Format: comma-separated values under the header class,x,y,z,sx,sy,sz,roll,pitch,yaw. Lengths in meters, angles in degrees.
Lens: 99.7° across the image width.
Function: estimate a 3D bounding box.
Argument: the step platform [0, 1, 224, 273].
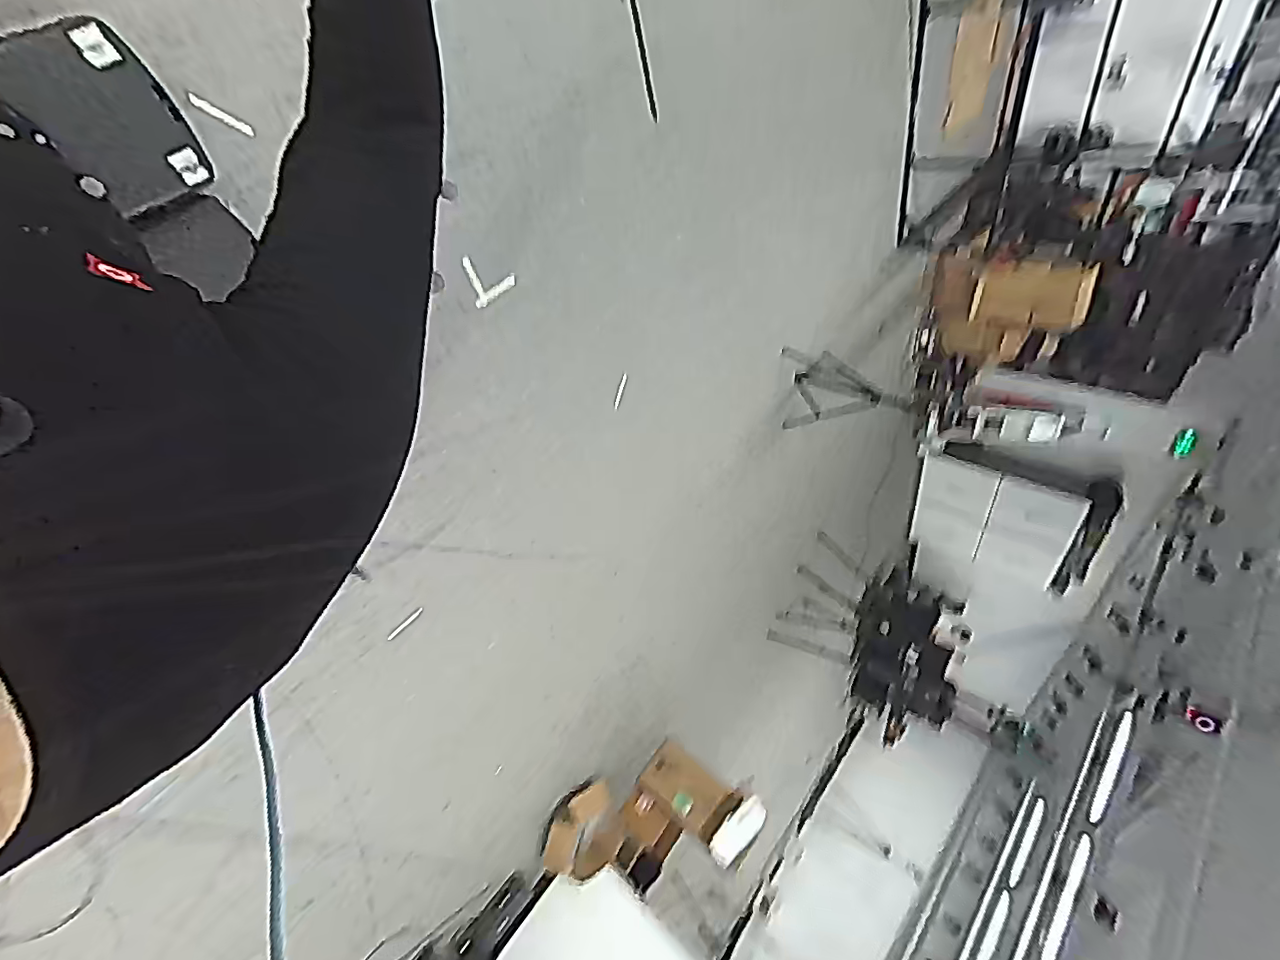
class,x,y,z,sx,sy,sz,roll,pitch,yaw
step platform,-1.147,-0.567,0.953,0.684,0.204,0.286,-47,140,-24
